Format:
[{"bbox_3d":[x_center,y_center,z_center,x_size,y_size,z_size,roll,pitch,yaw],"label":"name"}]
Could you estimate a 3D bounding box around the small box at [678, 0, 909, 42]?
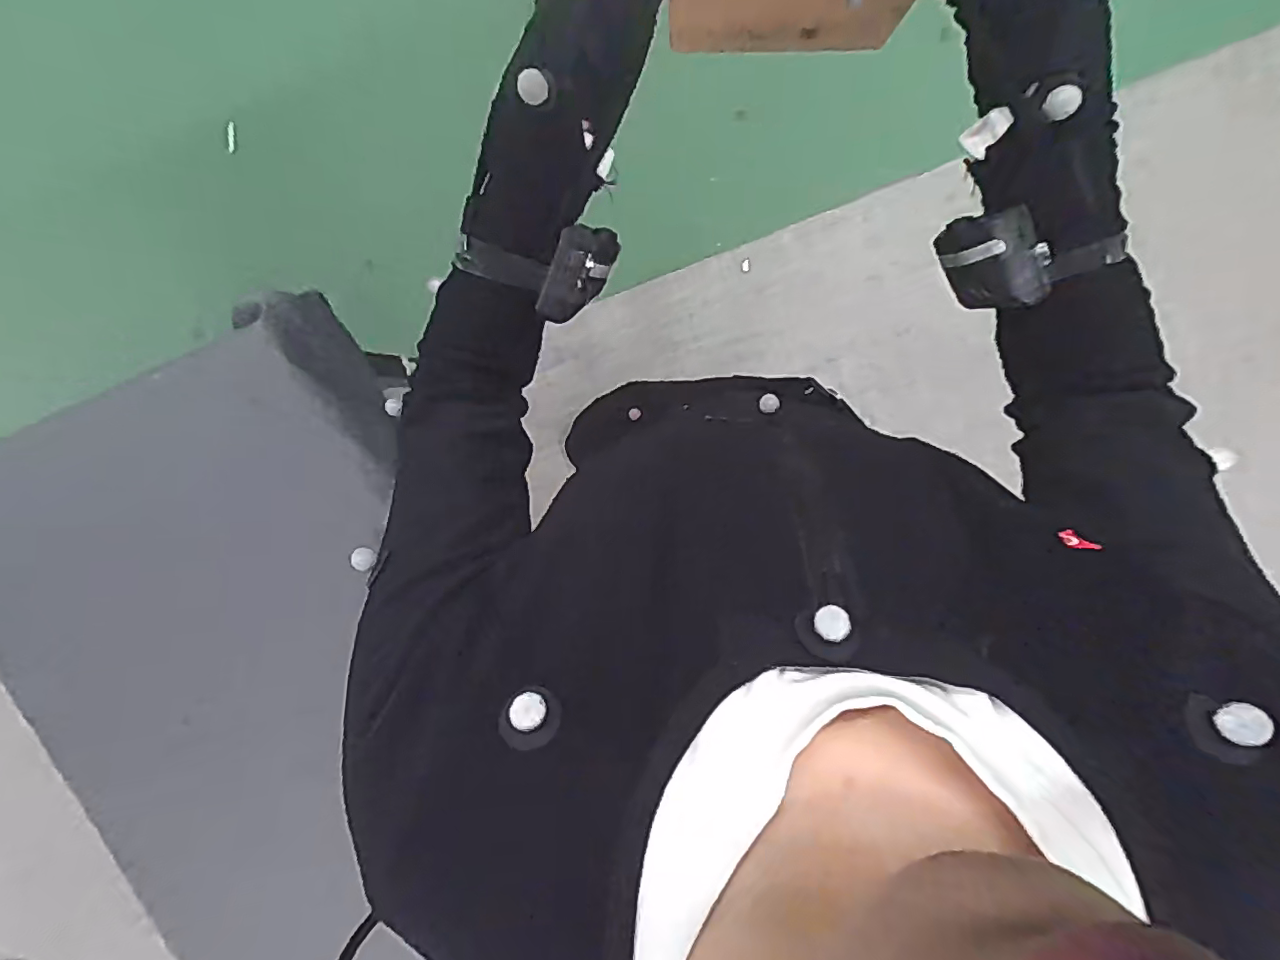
[{"bbox_3d":[0.108,-0.402,0.322,0.168,0.176,0.179,2,103,2],"label":"small box"}]
